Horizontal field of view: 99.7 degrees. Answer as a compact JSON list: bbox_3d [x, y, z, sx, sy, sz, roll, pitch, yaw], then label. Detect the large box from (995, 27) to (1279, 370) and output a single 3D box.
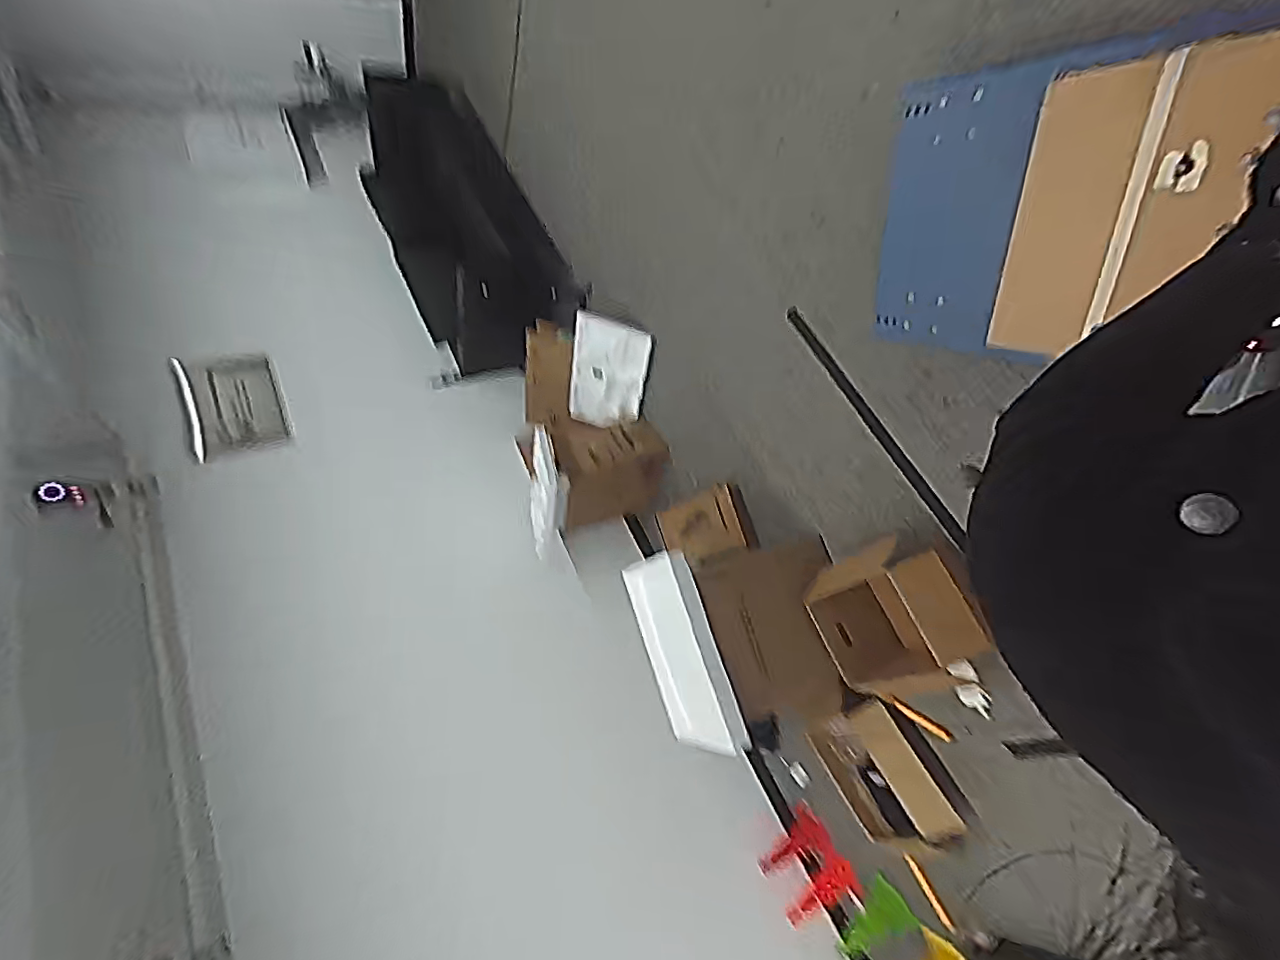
[{"bbox_3d":[0.838,-0.414,0.847,0.320,0.320,0.408,33,133,51],"label":"large box"}]
